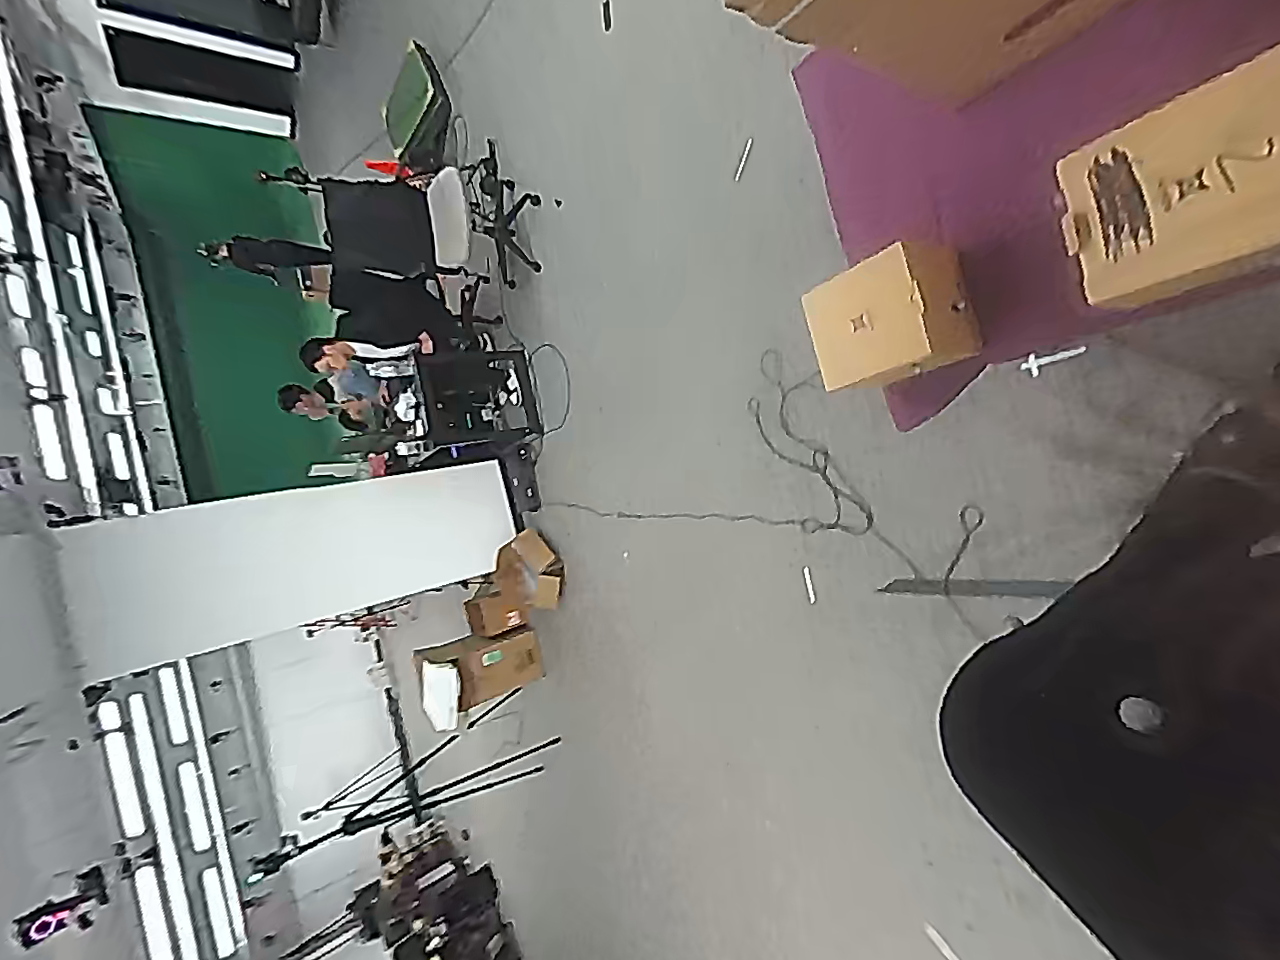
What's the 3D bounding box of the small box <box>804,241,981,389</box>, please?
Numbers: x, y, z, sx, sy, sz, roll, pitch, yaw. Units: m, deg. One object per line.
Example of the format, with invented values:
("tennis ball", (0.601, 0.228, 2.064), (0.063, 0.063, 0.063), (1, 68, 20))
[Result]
("small box", (0.396, -0.249, 0.854), (0.179, 0.176, 0.168), (-17, 85, 53))
